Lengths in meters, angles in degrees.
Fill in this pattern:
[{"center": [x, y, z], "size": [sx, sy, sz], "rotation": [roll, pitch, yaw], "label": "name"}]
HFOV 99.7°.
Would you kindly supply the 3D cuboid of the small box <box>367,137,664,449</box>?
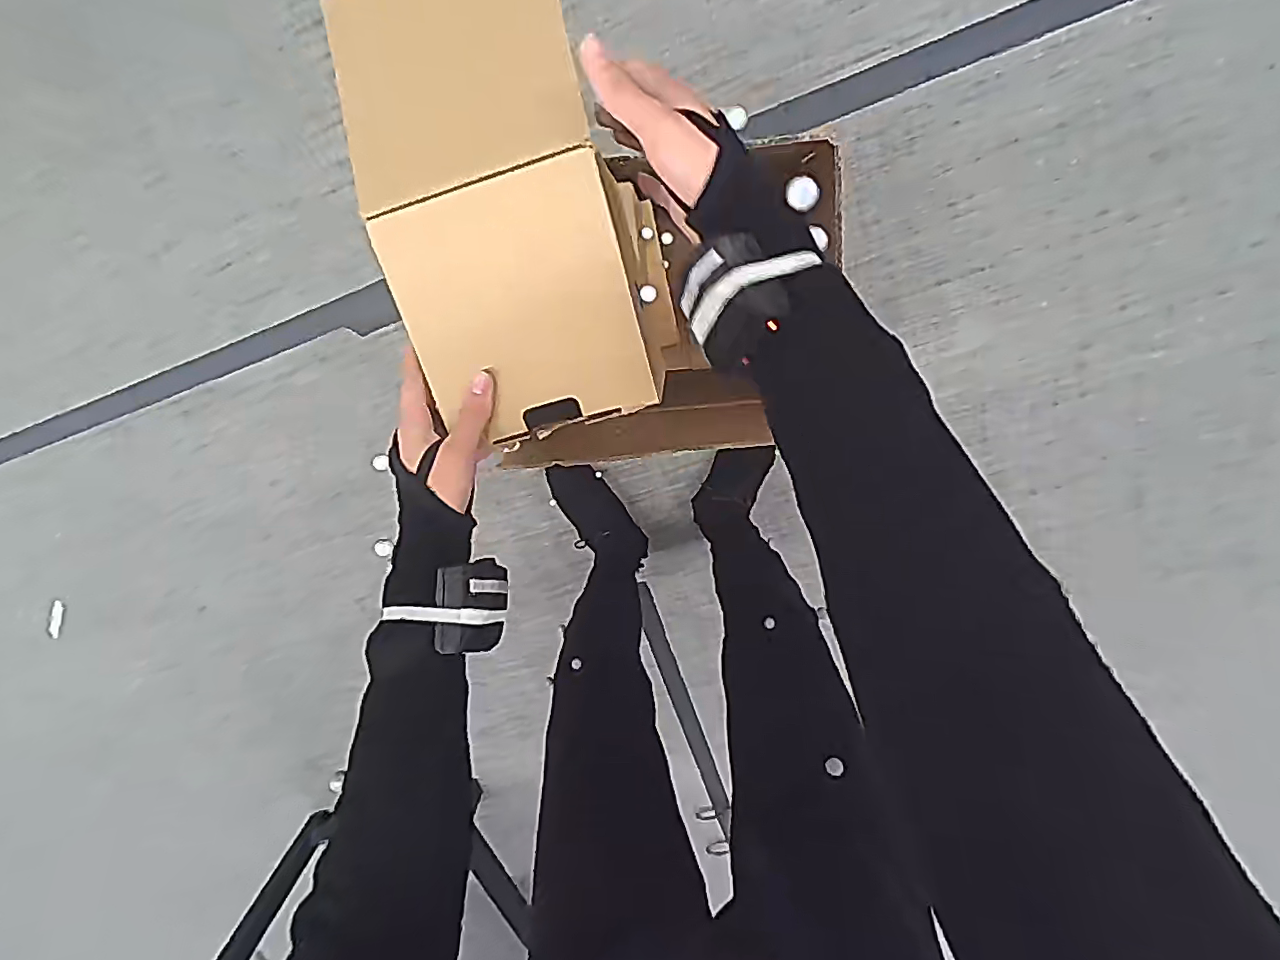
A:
[{"center": [-0.077, -0.145, 0.446], "size": [0.168, 0.176, 0.179], "rotation": [-13, 108, 8], "label": "small box"}]
